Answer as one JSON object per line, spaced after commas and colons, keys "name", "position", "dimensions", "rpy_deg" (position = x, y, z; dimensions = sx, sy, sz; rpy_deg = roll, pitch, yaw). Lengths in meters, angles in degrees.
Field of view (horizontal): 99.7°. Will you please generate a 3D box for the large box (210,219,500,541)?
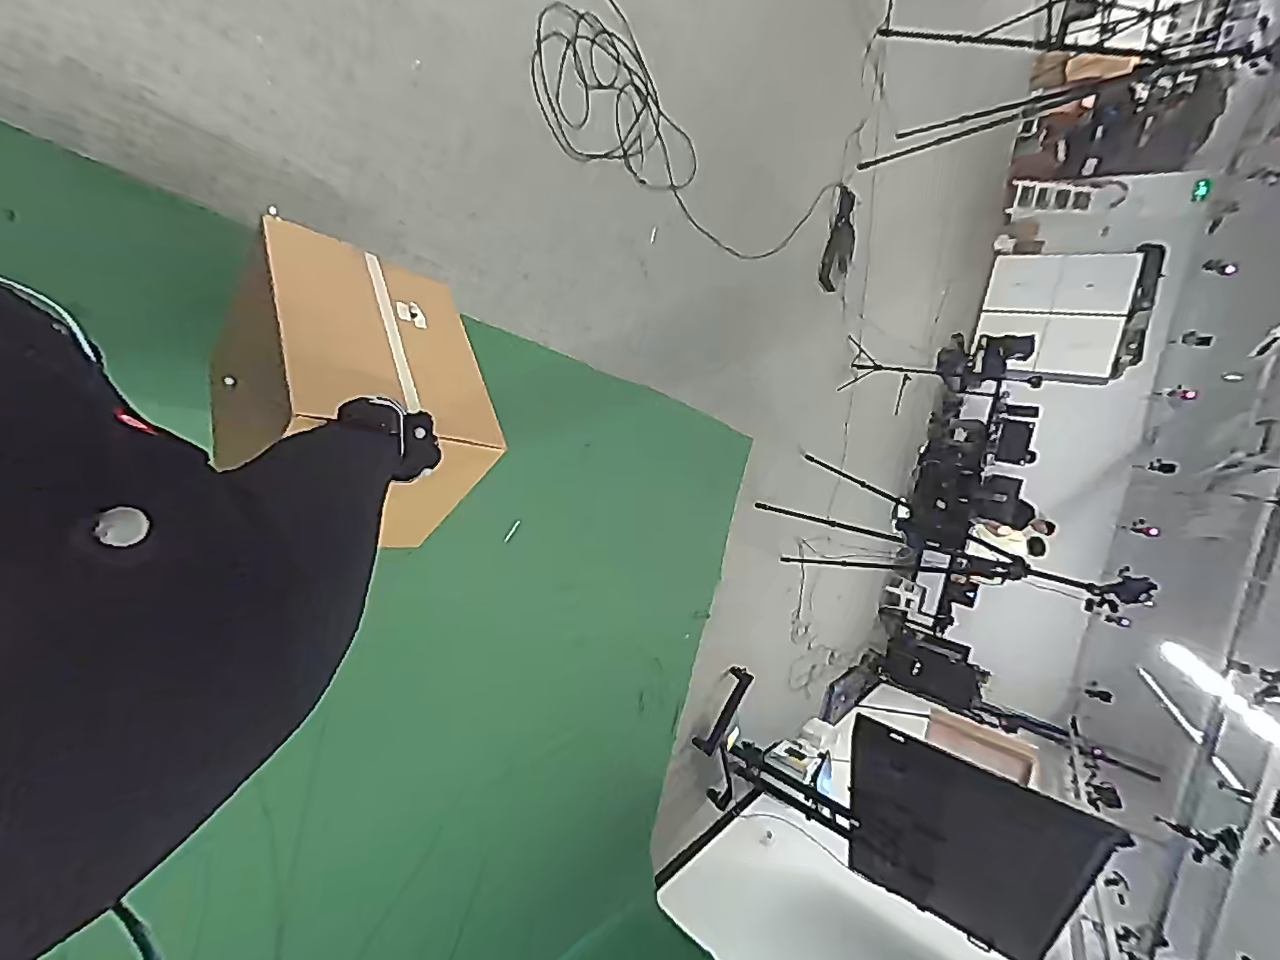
{"name": "large box", "position": [-0.503, -0.142, 0.932], "dimensions": [0.320, 0.408, 0.320], "rpy_deg": [-41, 151, 28]}
